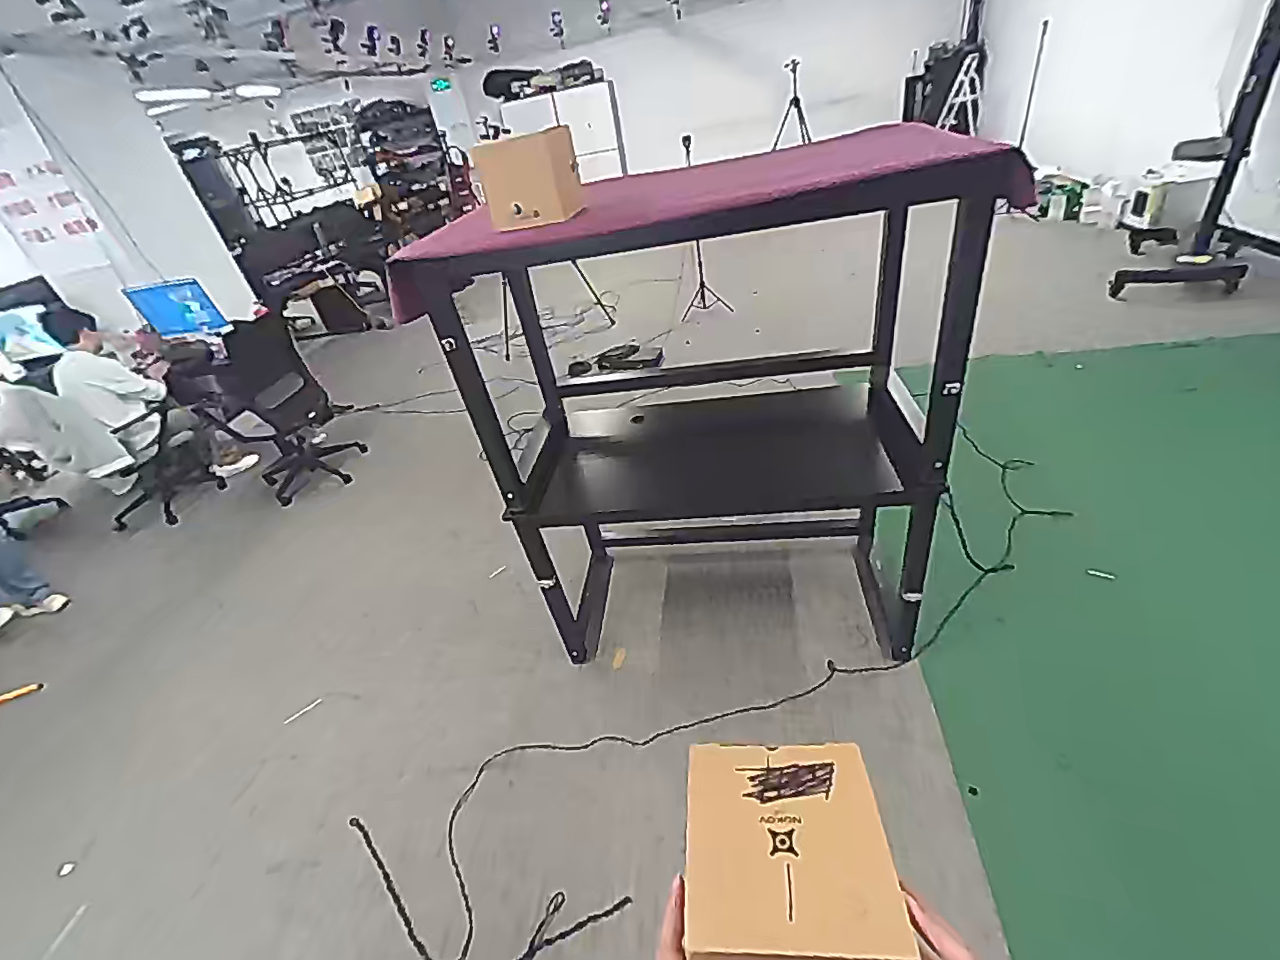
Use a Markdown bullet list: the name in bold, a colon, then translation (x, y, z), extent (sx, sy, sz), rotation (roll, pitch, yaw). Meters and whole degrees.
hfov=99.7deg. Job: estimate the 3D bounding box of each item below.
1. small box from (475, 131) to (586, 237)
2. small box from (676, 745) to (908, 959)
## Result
- **small box**: translation (-0.226, -0.639, 1.172), extent (0.168, 0.176, 0.179), rotation (-2, 35, 15)
- **small box**: translation (0.127, 0.374, 0.492), extent (0.168, 0.176, 0.179), rotation (-5, 25, 10)
